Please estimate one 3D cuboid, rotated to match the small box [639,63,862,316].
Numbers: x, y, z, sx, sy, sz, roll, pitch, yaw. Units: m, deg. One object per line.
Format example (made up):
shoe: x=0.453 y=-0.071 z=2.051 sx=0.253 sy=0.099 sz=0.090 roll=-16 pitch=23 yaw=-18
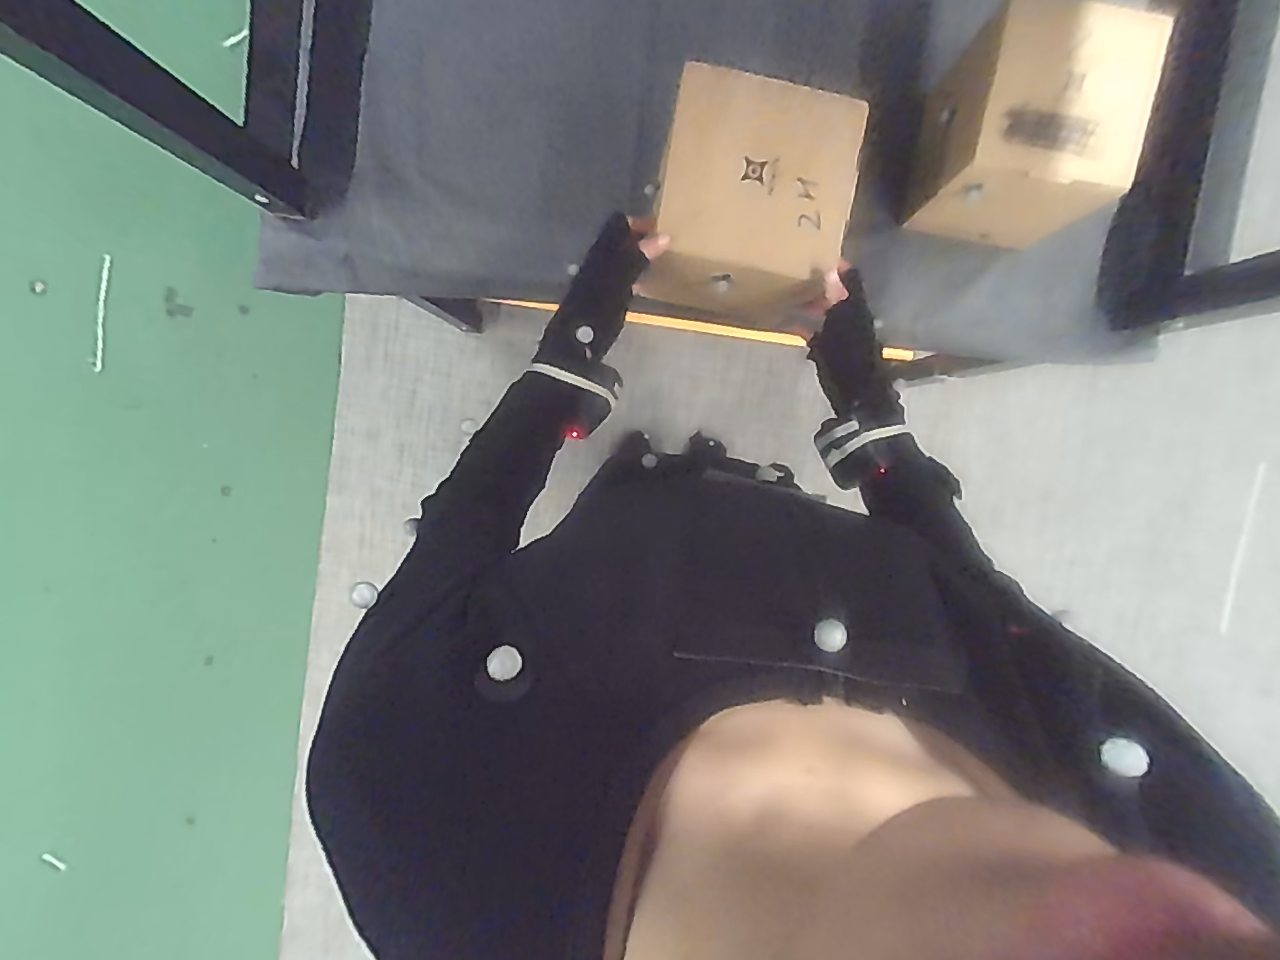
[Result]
small box: x=0.099 y=-0.284 z=0.573 sx=0.179 sy=0.176 sz=0.168 roll=10 pitch=94 yaw=-6
